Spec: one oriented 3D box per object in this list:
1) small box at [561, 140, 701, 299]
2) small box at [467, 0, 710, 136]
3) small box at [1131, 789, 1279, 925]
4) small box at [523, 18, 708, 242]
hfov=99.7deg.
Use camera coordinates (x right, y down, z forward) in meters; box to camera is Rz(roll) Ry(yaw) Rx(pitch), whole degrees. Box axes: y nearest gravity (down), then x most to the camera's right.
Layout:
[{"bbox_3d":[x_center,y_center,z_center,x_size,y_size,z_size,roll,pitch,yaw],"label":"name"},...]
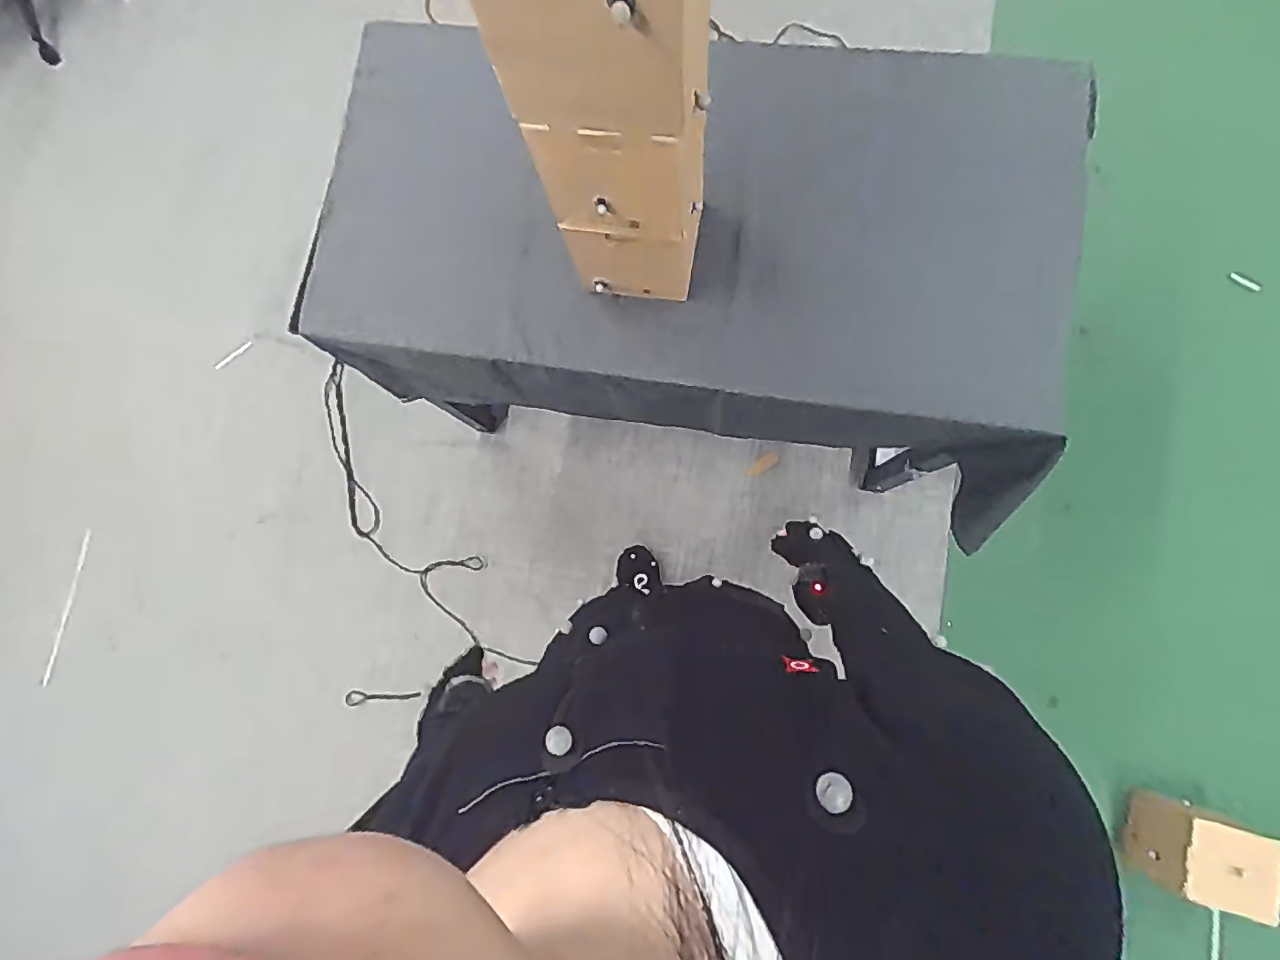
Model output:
[{"bbox_3d":[-0.003,-0.386,0.788,0.168,0.176,0.179,8,81,7],"label":"small box"},{"bbox_3d":[-0.034,-0.434,0.466,0.179,0.176,0.168,10,82,7],"label":"small box"},{"bbox_3d":[1.246,0.815,1.193,0.179,0.176,0.168,14,83,8],"label":"small box"},{"bbox_3d":[-0.018,-0.411,0.629,0.168,0.176,0.179,9,82,7],"label":"small box"}]
